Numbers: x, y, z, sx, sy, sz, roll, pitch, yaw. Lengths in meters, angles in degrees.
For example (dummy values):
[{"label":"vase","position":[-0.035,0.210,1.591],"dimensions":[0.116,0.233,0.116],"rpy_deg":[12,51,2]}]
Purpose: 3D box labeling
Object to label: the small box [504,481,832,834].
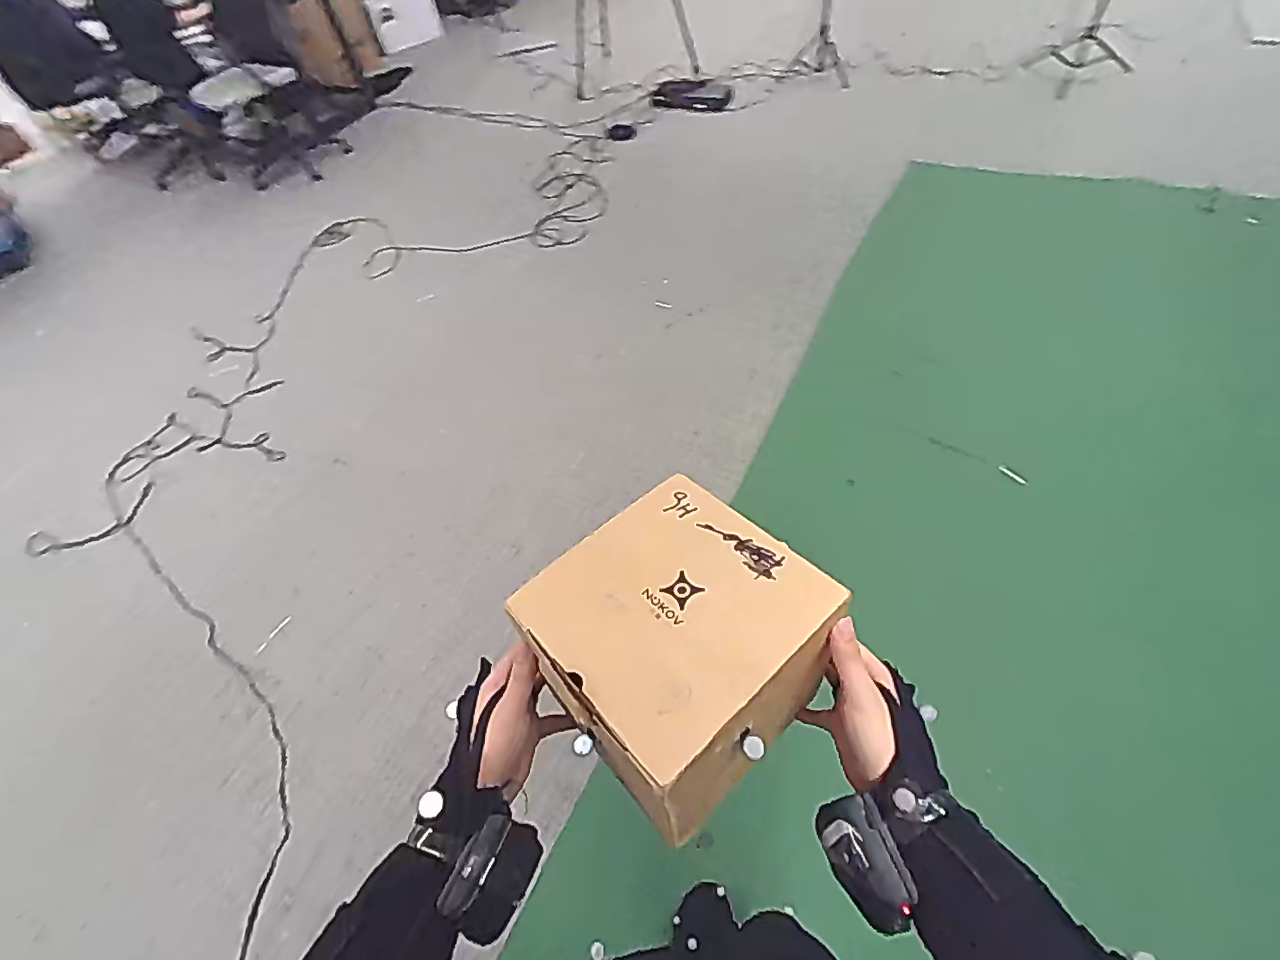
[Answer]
[{"label":"small box","position":[0.027,0.141,0.435],"dimensions":[0.179,0.176,0.168],"rpy_deg":[-37,53,-24]}]
